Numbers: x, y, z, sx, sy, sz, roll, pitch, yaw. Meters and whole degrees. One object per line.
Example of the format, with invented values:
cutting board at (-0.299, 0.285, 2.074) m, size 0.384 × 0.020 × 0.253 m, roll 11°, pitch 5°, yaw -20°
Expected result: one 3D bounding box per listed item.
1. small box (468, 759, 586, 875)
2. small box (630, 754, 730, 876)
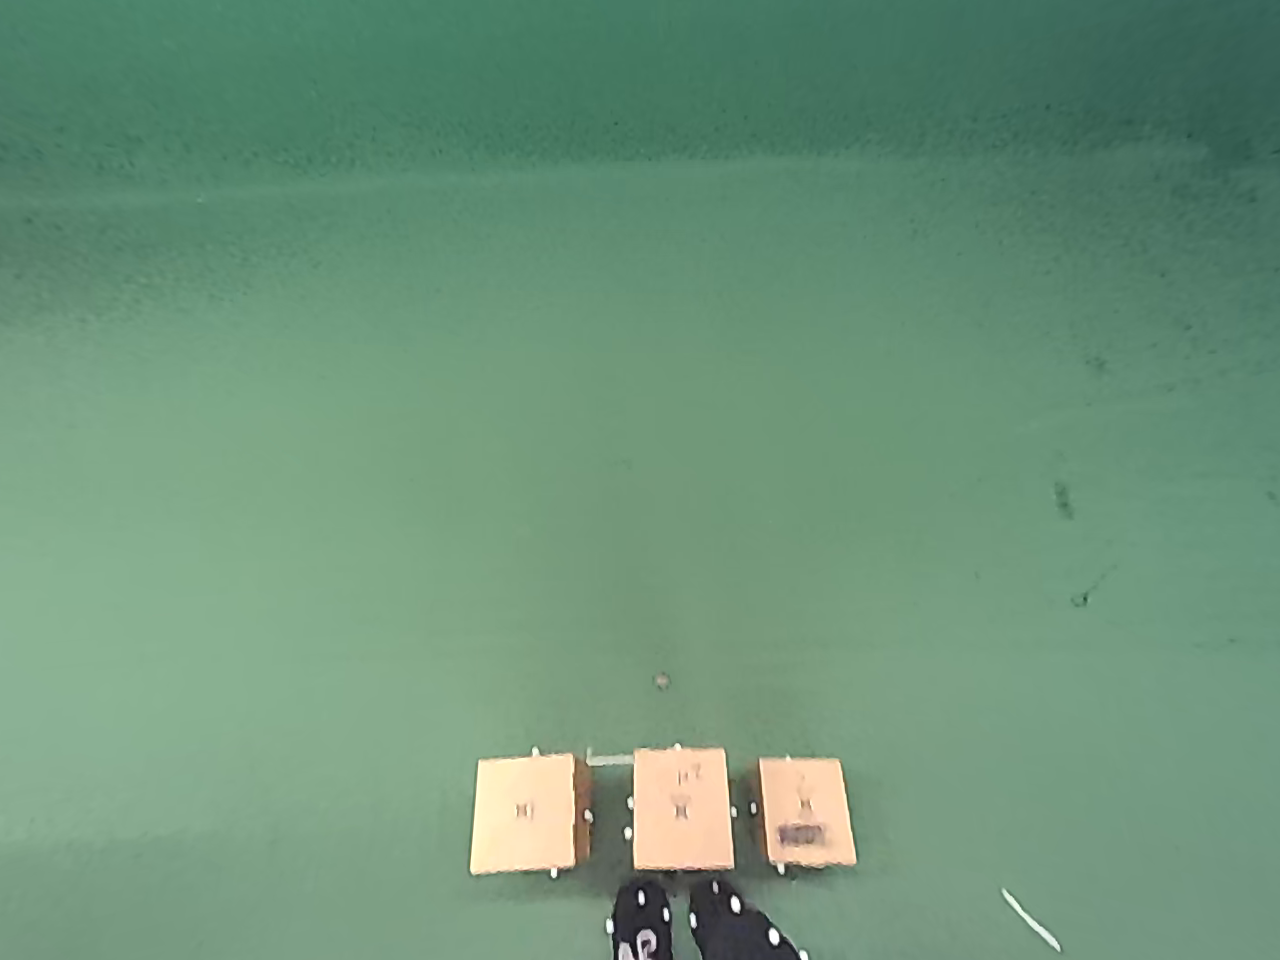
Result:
small box at (-0.197, 0.616, 0.993) m, size 0.179 × 0.176 × 0.168 m, roll -4°, pitch 58°, yaw 0°
small box at (0.070, 0.604, 0.986) m, size 0.168 × 0.176 × 0.179 m, roll -1°, pitch 59°, yaw 1°
